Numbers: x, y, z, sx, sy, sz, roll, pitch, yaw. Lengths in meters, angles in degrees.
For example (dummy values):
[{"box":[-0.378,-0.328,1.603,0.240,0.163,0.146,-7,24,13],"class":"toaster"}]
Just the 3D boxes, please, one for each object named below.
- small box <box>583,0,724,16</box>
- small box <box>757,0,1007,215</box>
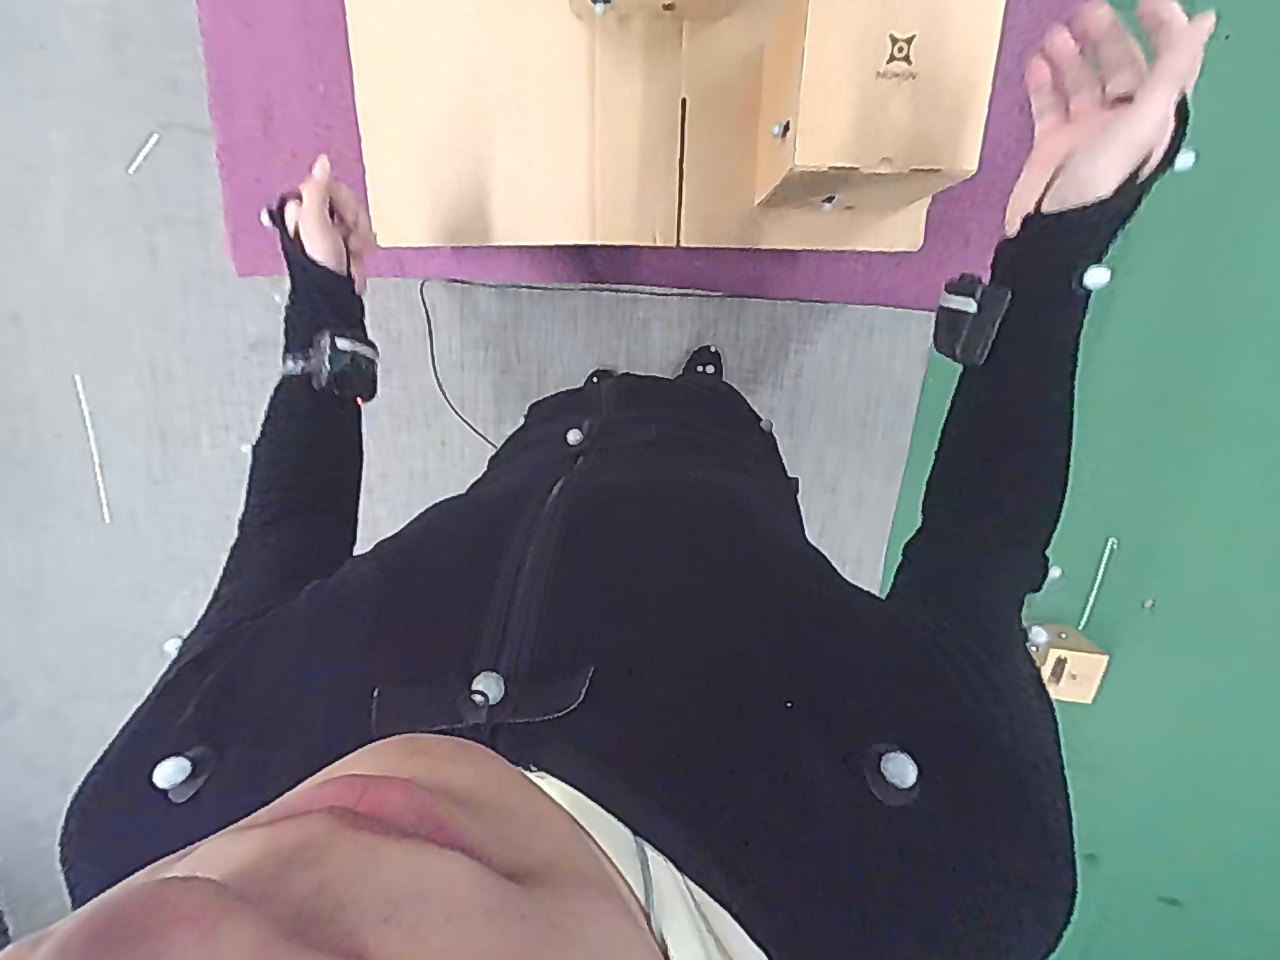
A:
[{"box":[0.010,-0.554,0.476,0.168,0.176,0.179,0,105,-1],"class":"small box"},{"box":[0.216,-0.374,0.530,0.168,0.176,0.179,1,106,0],"class":"small box"}]
